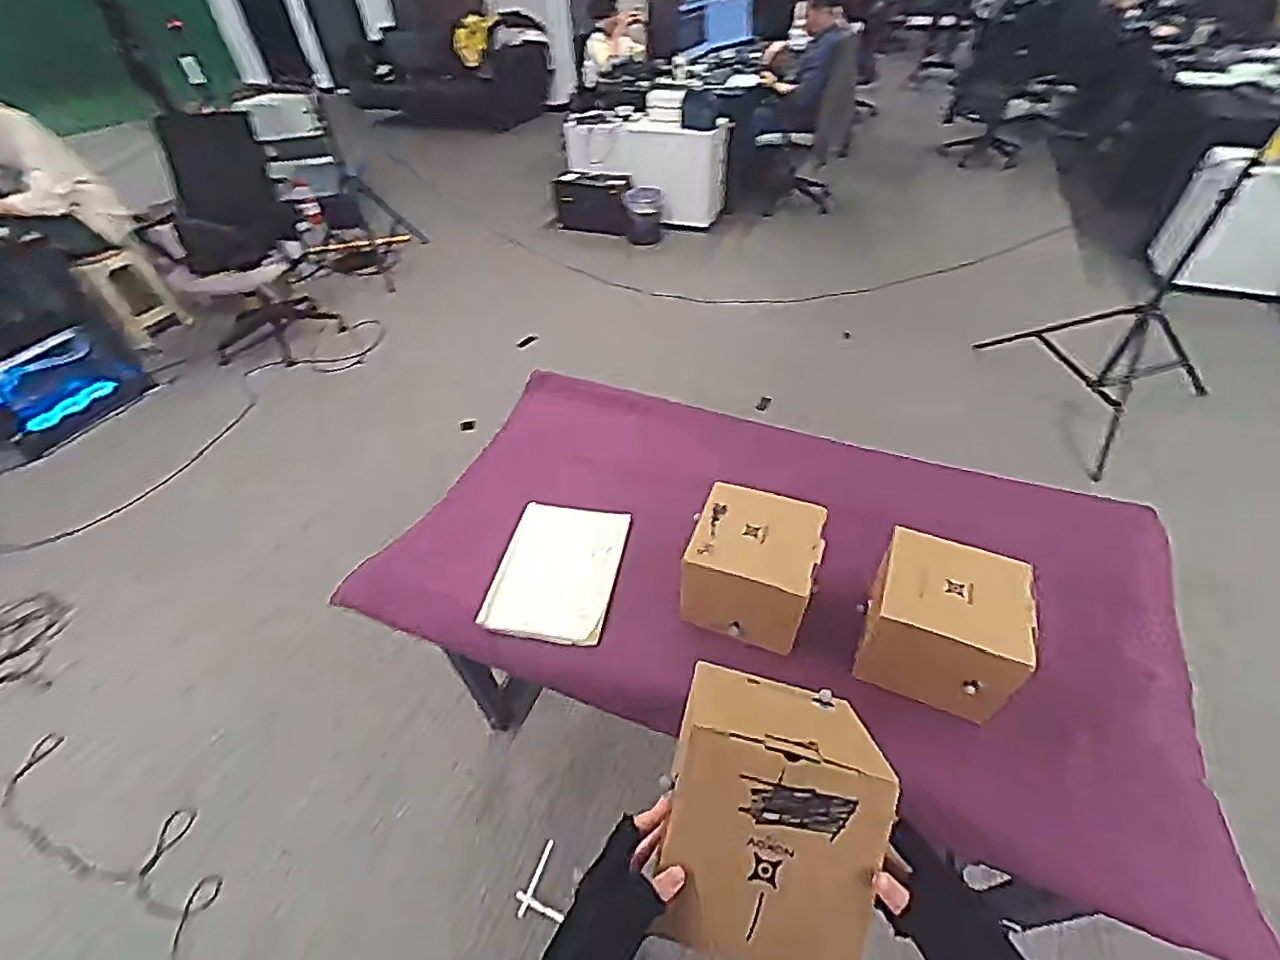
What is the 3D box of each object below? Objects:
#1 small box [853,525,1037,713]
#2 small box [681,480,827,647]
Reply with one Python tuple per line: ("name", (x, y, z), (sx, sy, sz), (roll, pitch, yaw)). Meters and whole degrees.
("small box", (0.417, 0.196, 0.756), (0.179, 0.176, 0.168), (16, 46, 20))
("small box", (0.171, 0.132, 0.833), (0.179, 0.176, 0.168), (15, 47, 16))
